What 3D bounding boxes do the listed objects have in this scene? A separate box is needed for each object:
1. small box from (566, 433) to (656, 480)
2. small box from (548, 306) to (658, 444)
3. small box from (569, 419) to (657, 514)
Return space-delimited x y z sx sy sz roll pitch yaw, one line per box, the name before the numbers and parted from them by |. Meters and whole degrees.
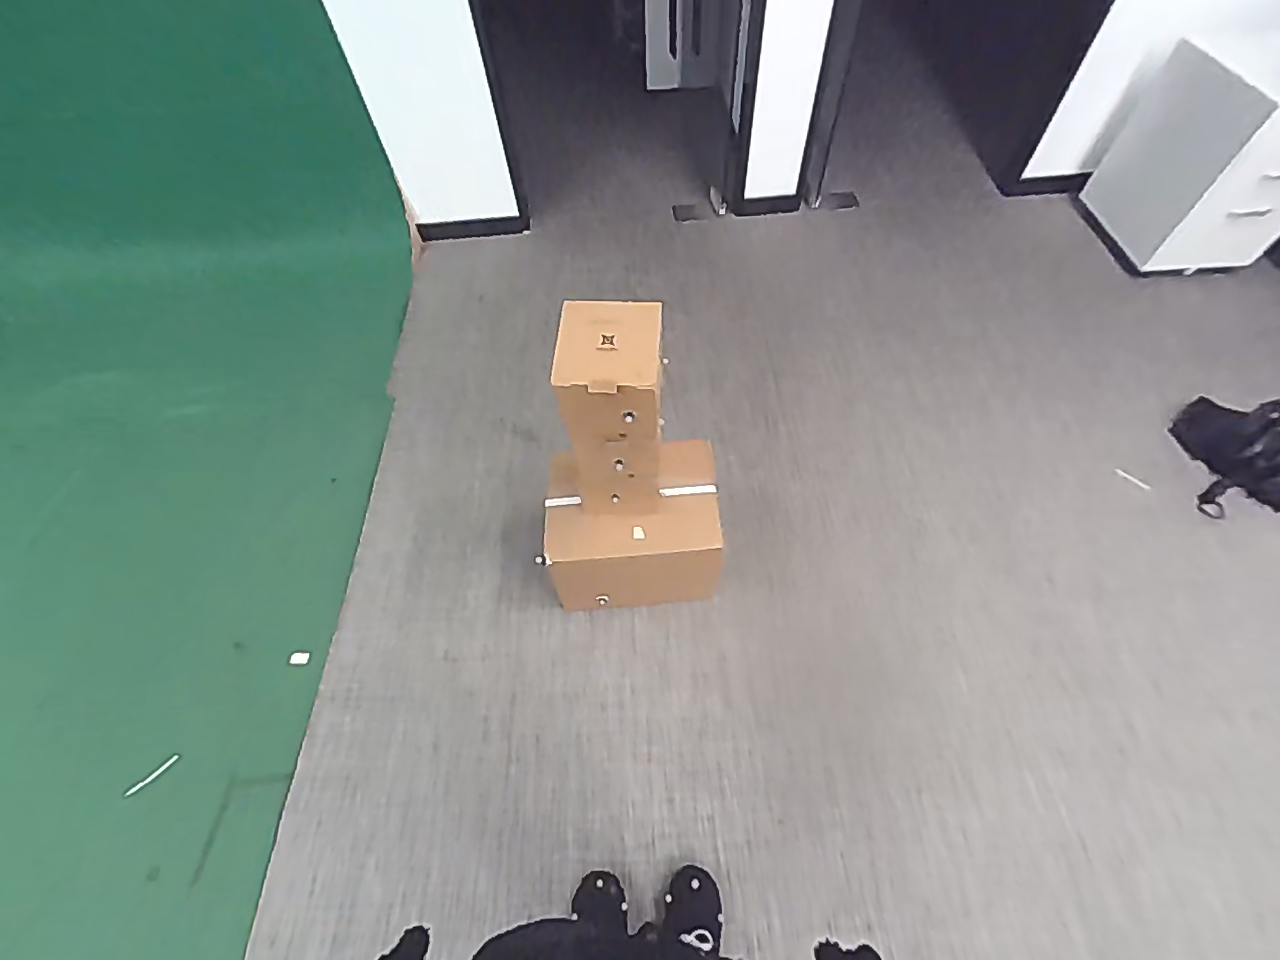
small box | -0.056 -0.108 1.085 0.168 0.176 0.179 -5 63 0
small box | -0.055 -0.177 0.937 0.168 0.176 0.179 2 62 2
small box | -0.054 -0.032 1.226 0.179 0.176 0.168 2 61 3
